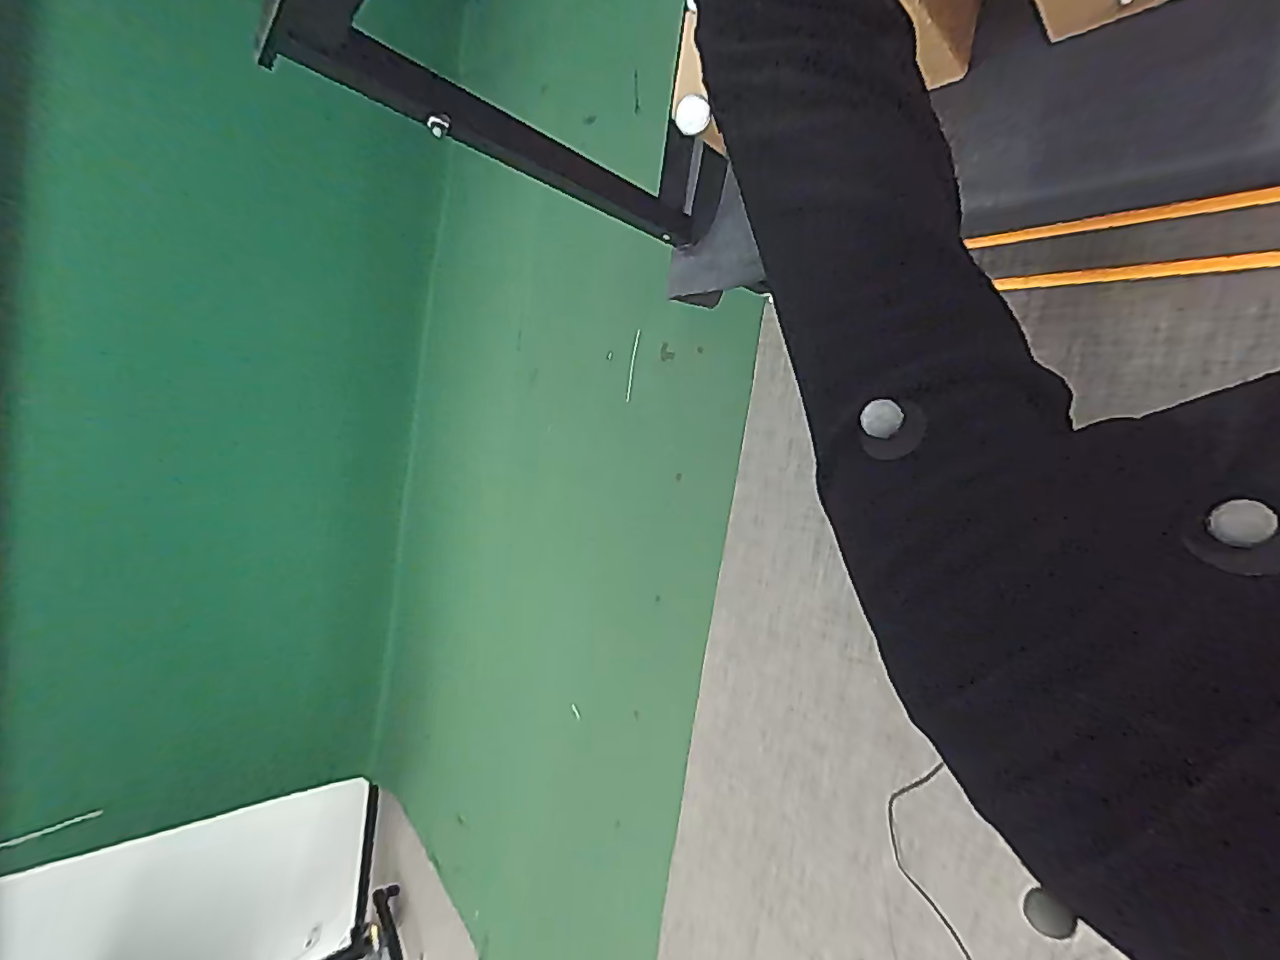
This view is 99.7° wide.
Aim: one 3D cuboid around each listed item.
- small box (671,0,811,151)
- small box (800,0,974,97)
[{"bbox_3d":[0.179,-0.712,0.931,0.168,0.176,0.179,14,99,47],"label":"small box"},{"bbox_3d":[0.348,-0.672,0.747,0.168,0.176,0.179,14,98,47],"label":"small box"}]
